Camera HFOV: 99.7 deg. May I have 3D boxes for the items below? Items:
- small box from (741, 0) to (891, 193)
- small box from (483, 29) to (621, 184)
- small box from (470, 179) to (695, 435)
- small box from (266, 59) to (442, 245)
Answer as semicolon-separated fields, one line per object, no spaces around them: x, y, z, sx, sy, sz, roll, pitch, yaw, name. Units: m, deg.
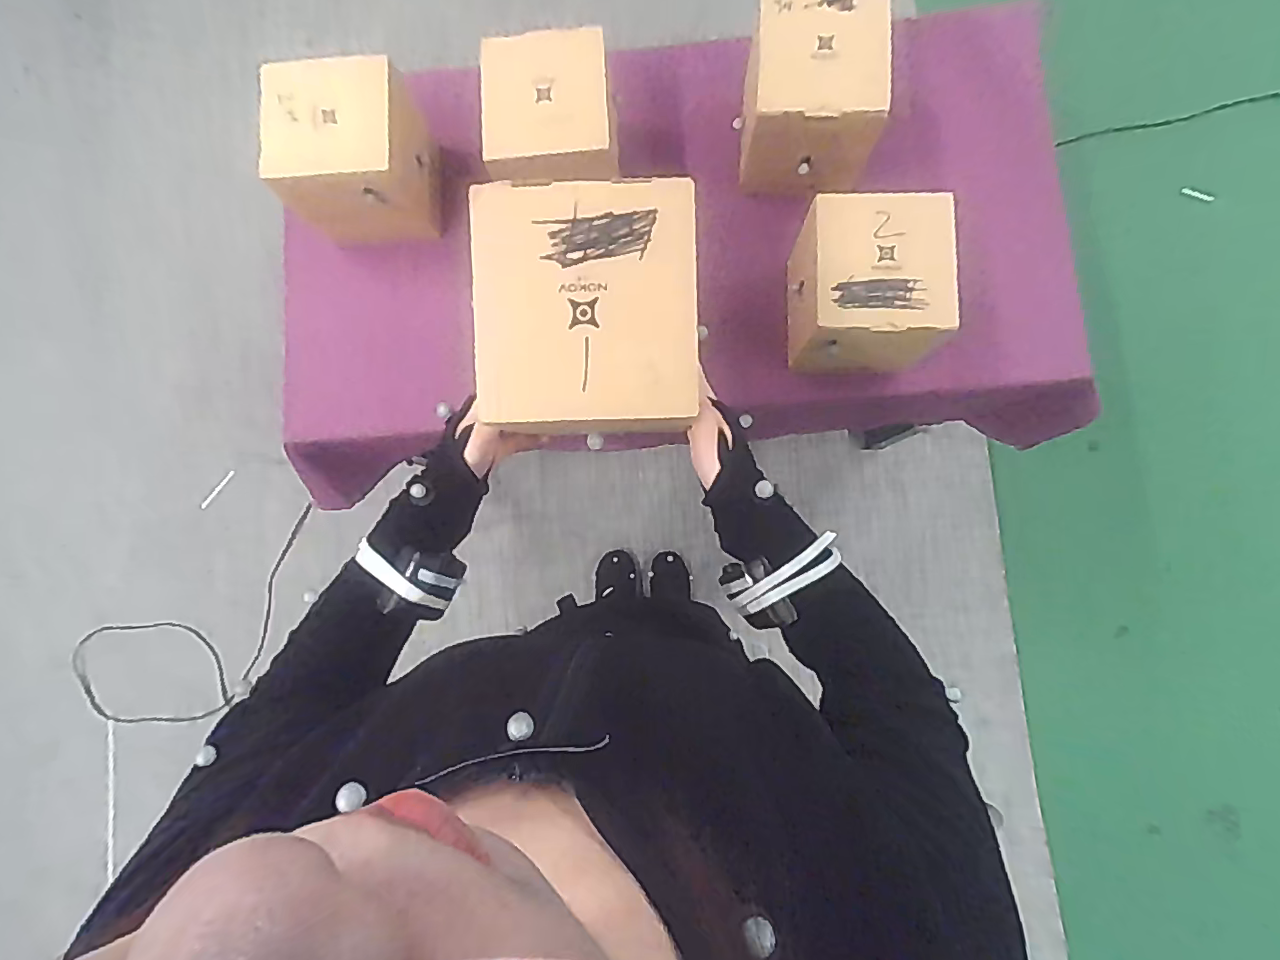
0.237;-0.532;0.762;0.168;0.176;0.179;3;85;4;small box
-0.118;-0.493;0.781;0.168;0.176;0.179;-3;84;4;small box
-0.041;-0.133;0.475;0.168;0.176;0.179;-1;92;1;small box
-0.404;-0.467;0.793;0.179;0.176;0.168;-3;83;3;small box
